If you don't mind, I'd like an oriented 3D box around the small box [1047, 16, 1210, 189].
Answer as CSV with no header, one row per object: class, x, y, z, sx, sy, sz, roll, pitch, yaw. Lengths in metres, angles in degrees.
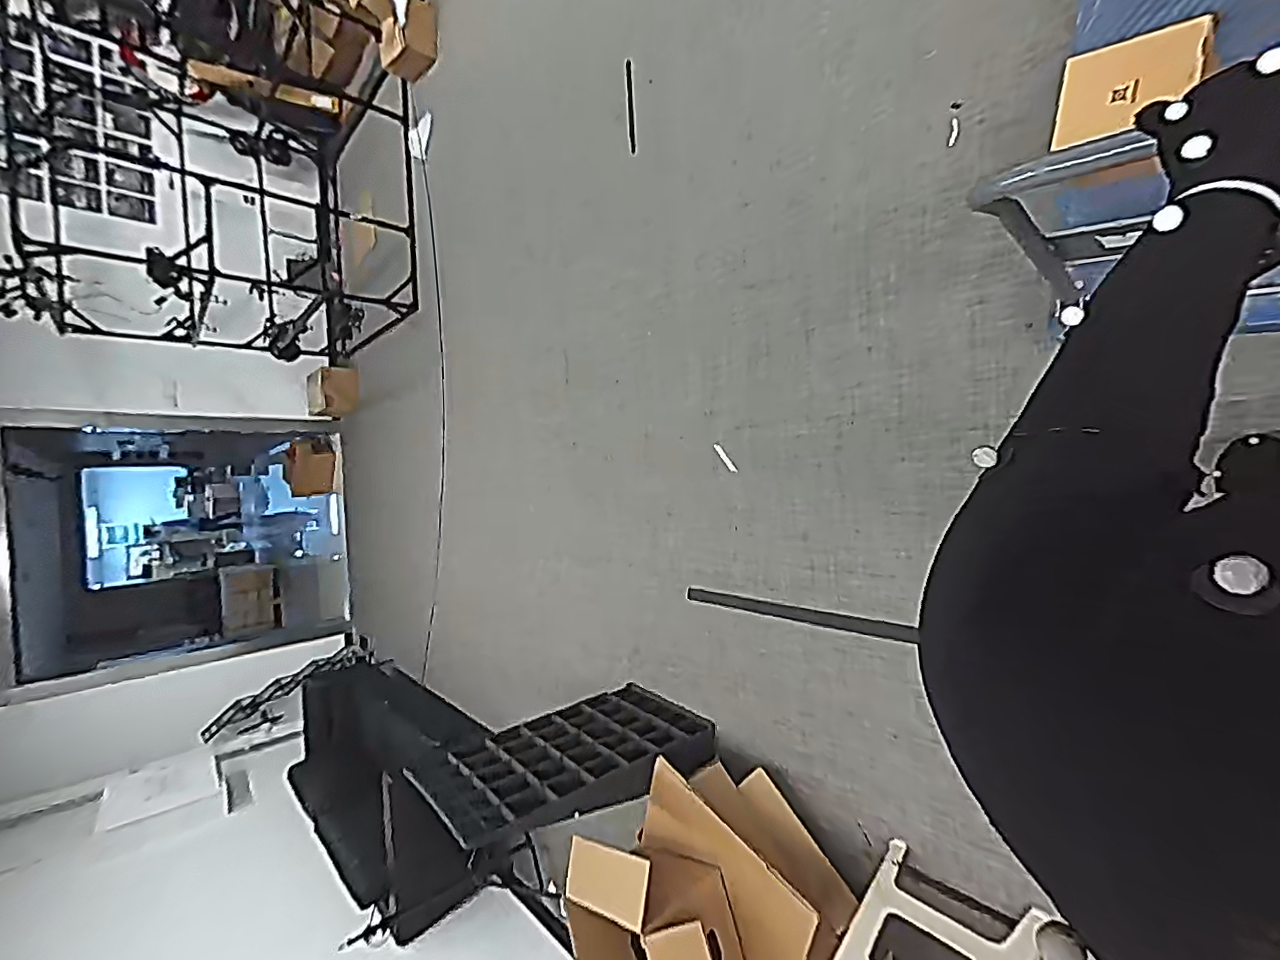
small box,0.836,-0.625,0.927,0.179,0.176,0.168,13,101,45
